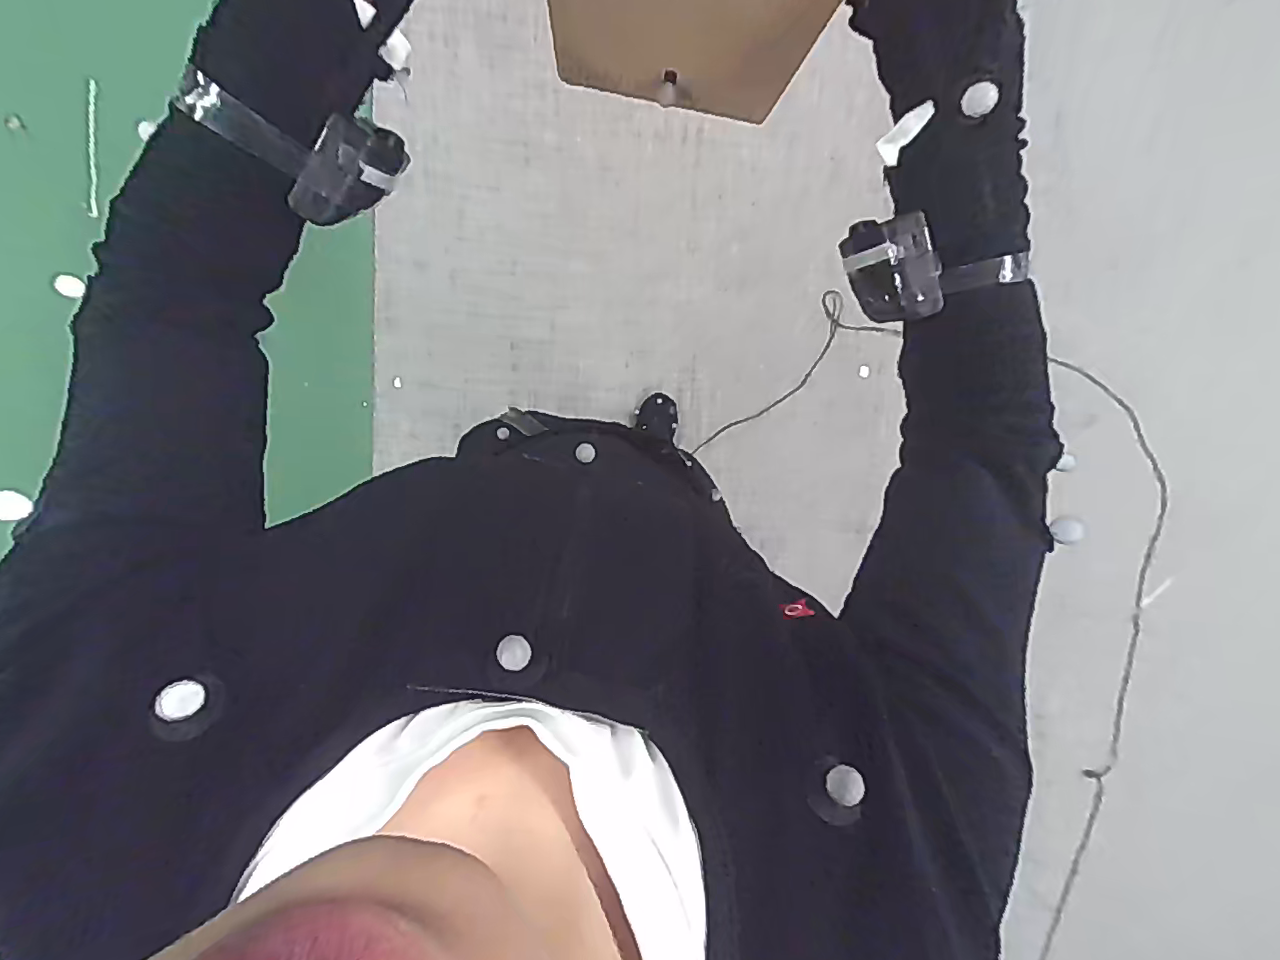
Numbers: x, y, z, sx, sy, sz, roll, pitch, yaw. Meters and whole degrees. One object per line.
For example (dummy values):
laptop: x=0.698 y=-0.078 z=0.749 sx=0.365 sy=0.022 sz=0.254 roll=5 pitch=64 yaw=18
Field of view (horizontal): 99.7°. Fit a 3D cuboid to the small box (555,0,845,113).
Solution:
small box: x=0.041 y=-0.379 z=0.355 sx=0.179 sy=0.176 sz=0.168 roll=8 pitch=98 yaw=-6
